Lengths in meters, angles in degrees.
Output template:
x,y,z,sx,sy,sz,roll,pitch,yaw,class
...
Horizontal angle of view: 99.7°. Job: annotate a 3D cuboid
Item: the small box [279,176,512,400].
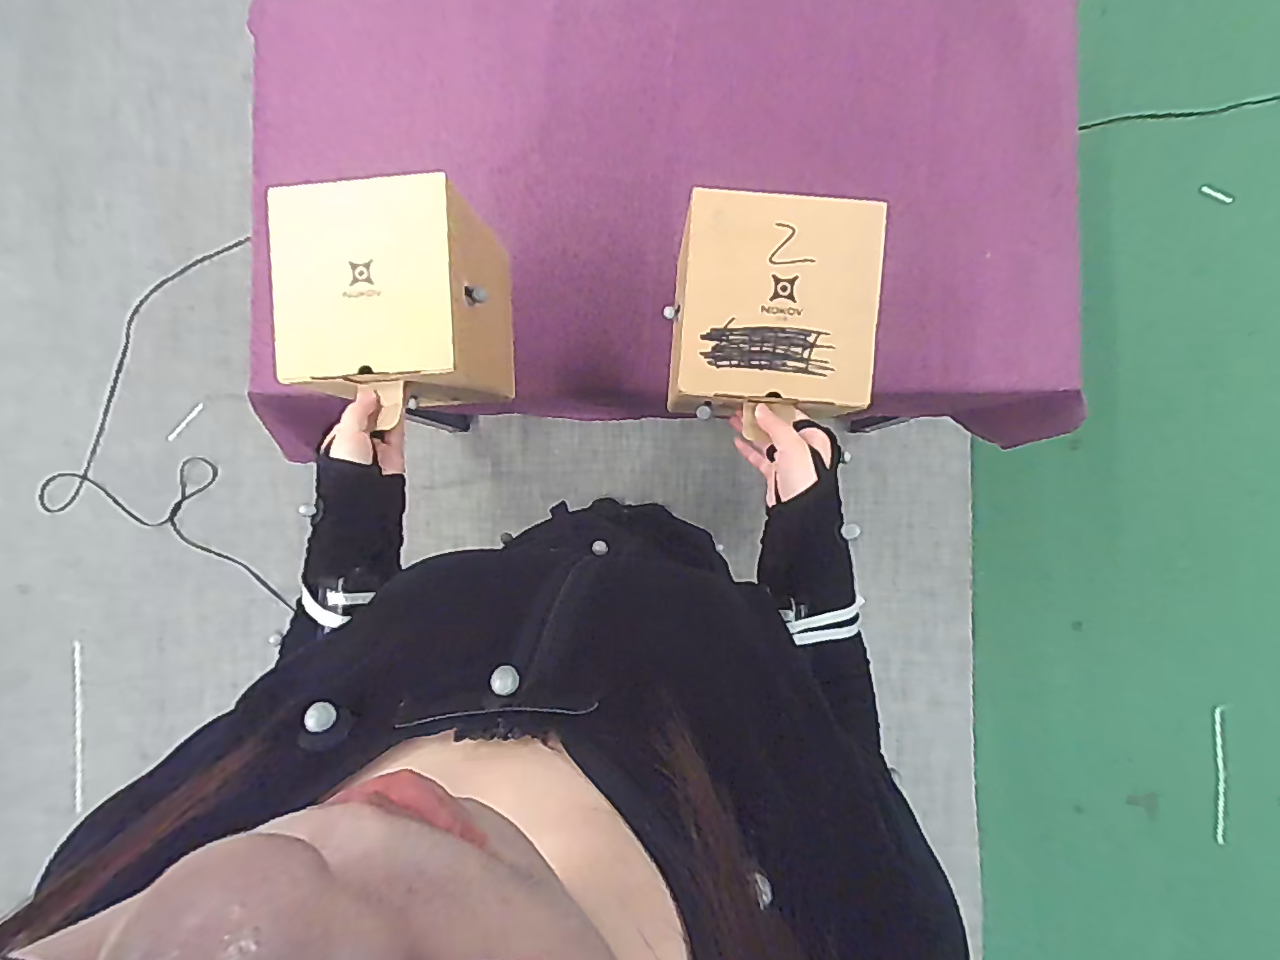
x,y,z,sx,sy,sz,roll,pitch,yaw,class
-0.241,-0.185,0.570,0.168,0.176,0.179,-2,91,5,small box
